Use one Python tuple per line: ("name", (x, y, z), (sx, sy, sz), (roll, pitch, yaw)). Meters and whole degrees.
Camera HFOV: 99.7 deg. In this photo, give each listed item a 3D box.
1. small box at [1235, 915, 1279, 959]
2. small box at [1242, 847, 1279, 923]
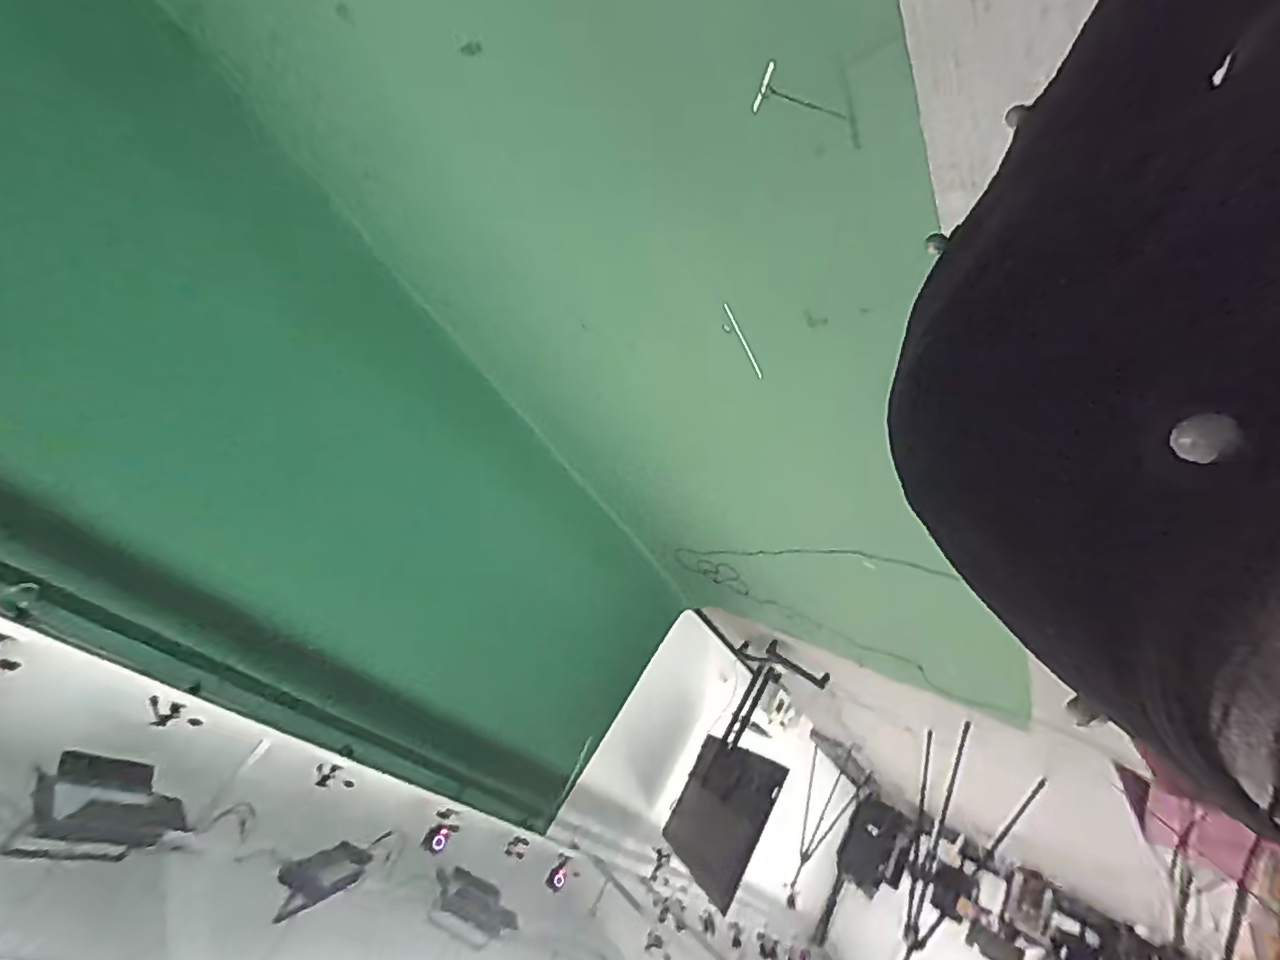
("small box", (1.634, 1.233, 1.355), (0.179, 0.176, 0.168), (11, 148, 47))
("small box", (1.725, 1.110, 1.417), (0.179, 0.176, 0.168), (10, 147, 47))
